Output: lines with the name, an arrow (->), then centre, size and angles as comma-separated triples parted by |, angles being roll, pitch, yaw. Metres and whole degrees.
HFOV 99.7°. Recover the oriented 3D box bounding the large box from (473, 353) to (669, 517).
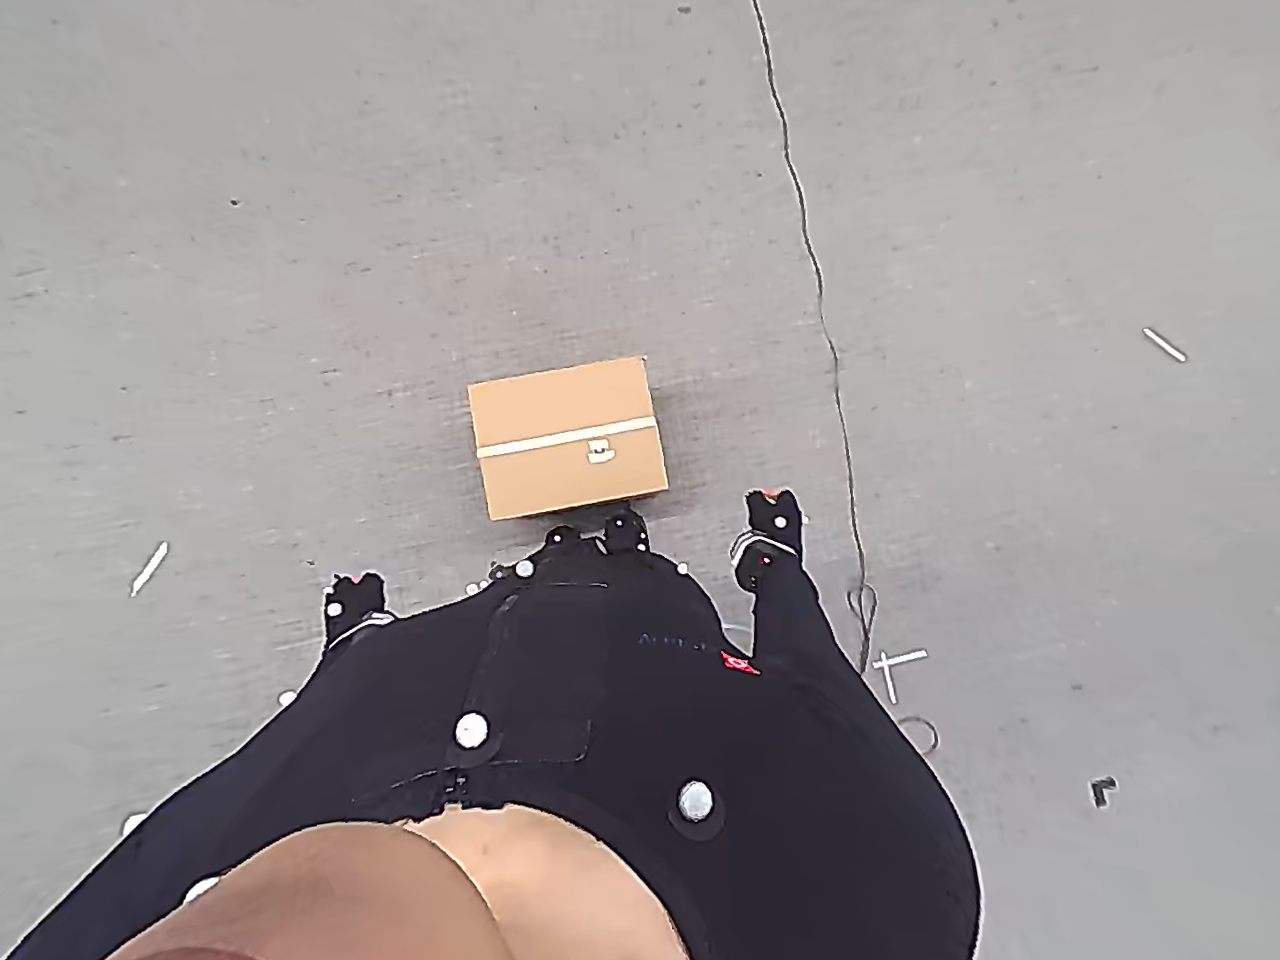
large box -> -0.163, -0.094, 1.370 | 0.408, 0.320, 0.320 | -11, 87, -3
